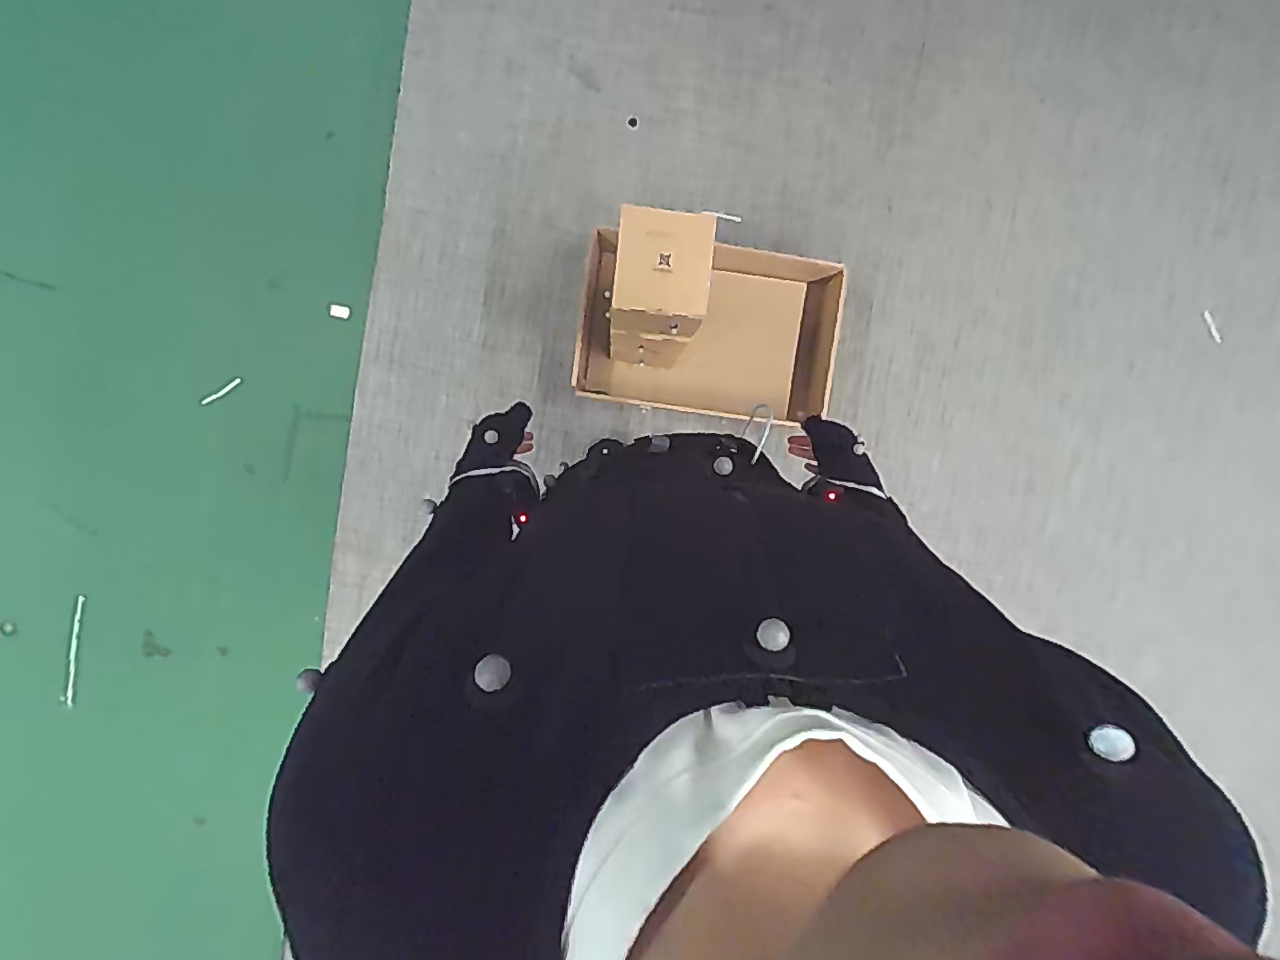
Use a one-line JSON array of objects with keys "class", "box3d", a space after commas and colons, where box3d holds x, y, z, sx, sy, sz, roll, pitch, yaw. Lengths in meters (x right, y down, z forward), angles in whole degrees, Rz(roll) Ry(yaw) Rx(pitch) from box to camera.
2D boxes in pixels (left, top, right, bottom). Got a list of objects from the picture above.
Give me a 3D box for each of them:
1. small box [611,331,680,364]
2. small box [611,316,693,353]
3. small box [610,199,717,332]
[{"class": "small box", "box3d": [0.020, -0.391, 1.312, 0.168, 0.176, 0.179, 9, 93, -3]}, {"class": "small box", "box3d": [0.029, -0.382, 1.150, 0.168, 0.176, 0.179, 7, 94, -4]}, {"class": "small box", "box3d": [0.036, -0.378, 0.987, 0.168, 0.176, 0.179, 6, 93, -4]}]
